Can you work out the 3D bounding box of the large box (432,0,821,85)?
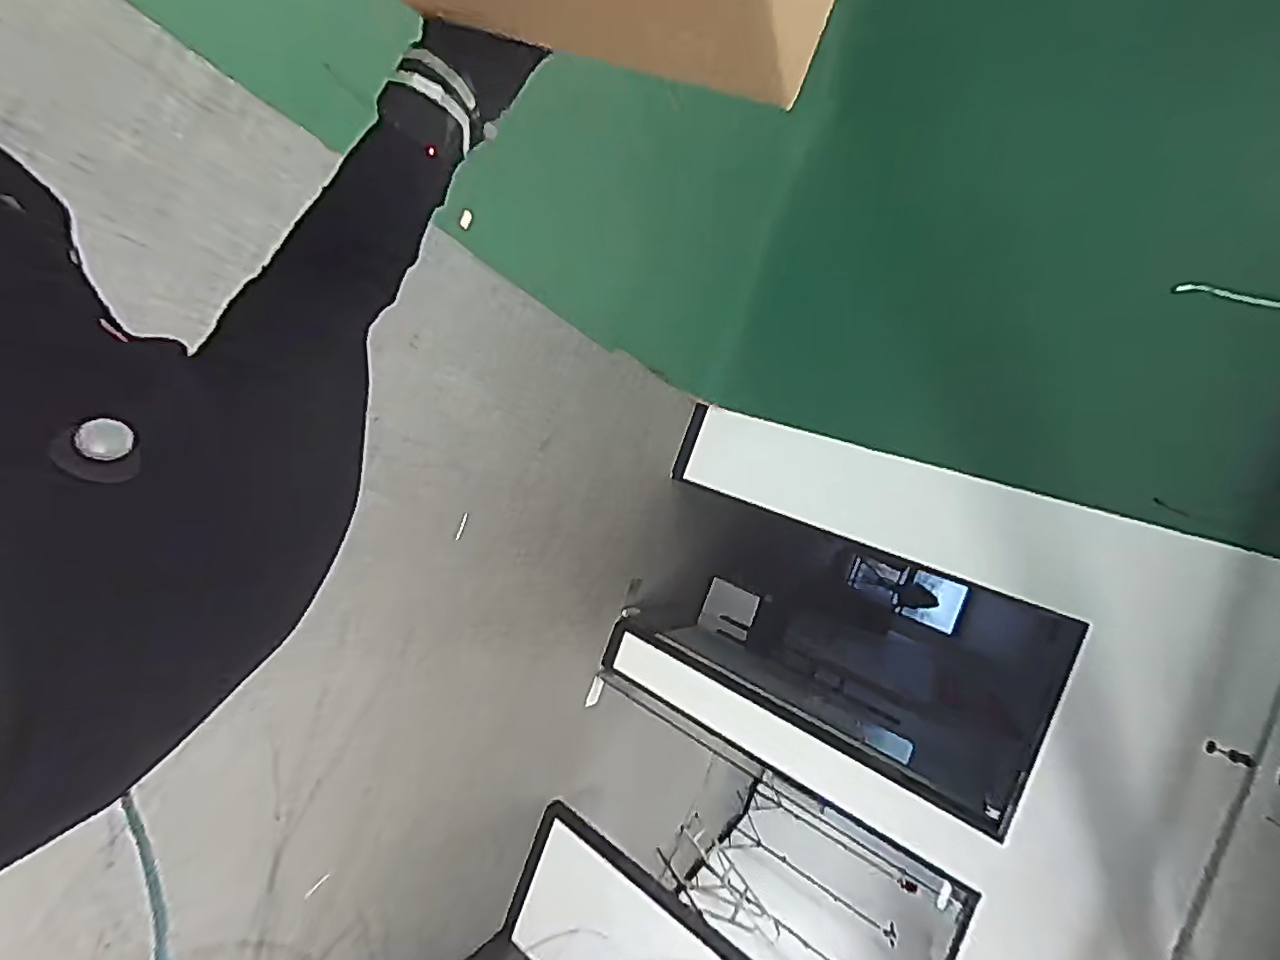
[{"bbox_3d":[-0.052,-0.412,0.171,0.320,0.320,0.408,-70,168,19],"label":"large box"}]
